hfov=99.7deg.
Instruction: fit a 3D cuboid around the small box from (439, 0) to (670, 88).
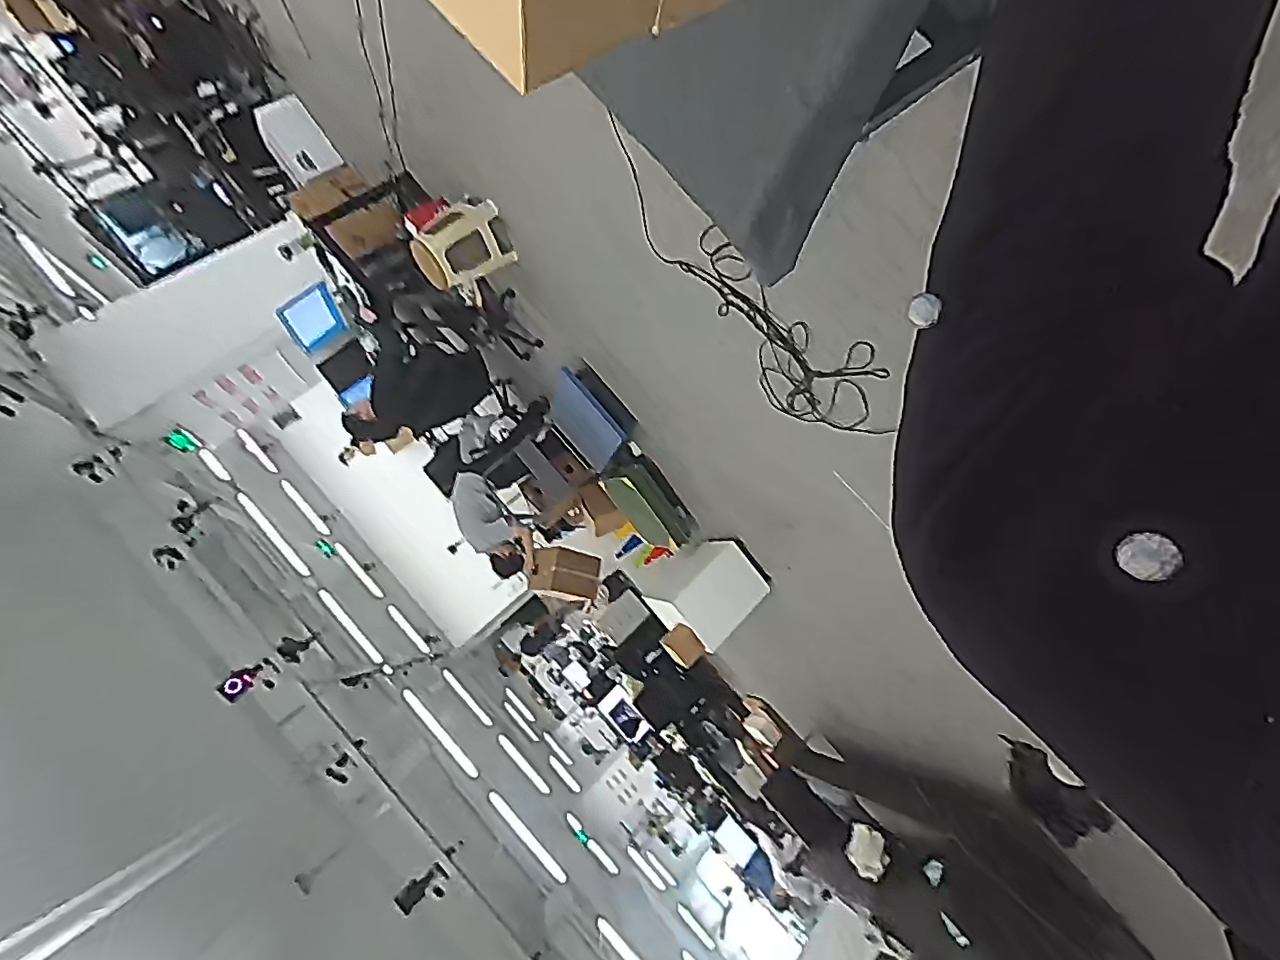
[{"bbox_3d":[-0.077,-0.474,0.431,0.179,0.176,0.168,47,161,6],"label":"small box"}]
